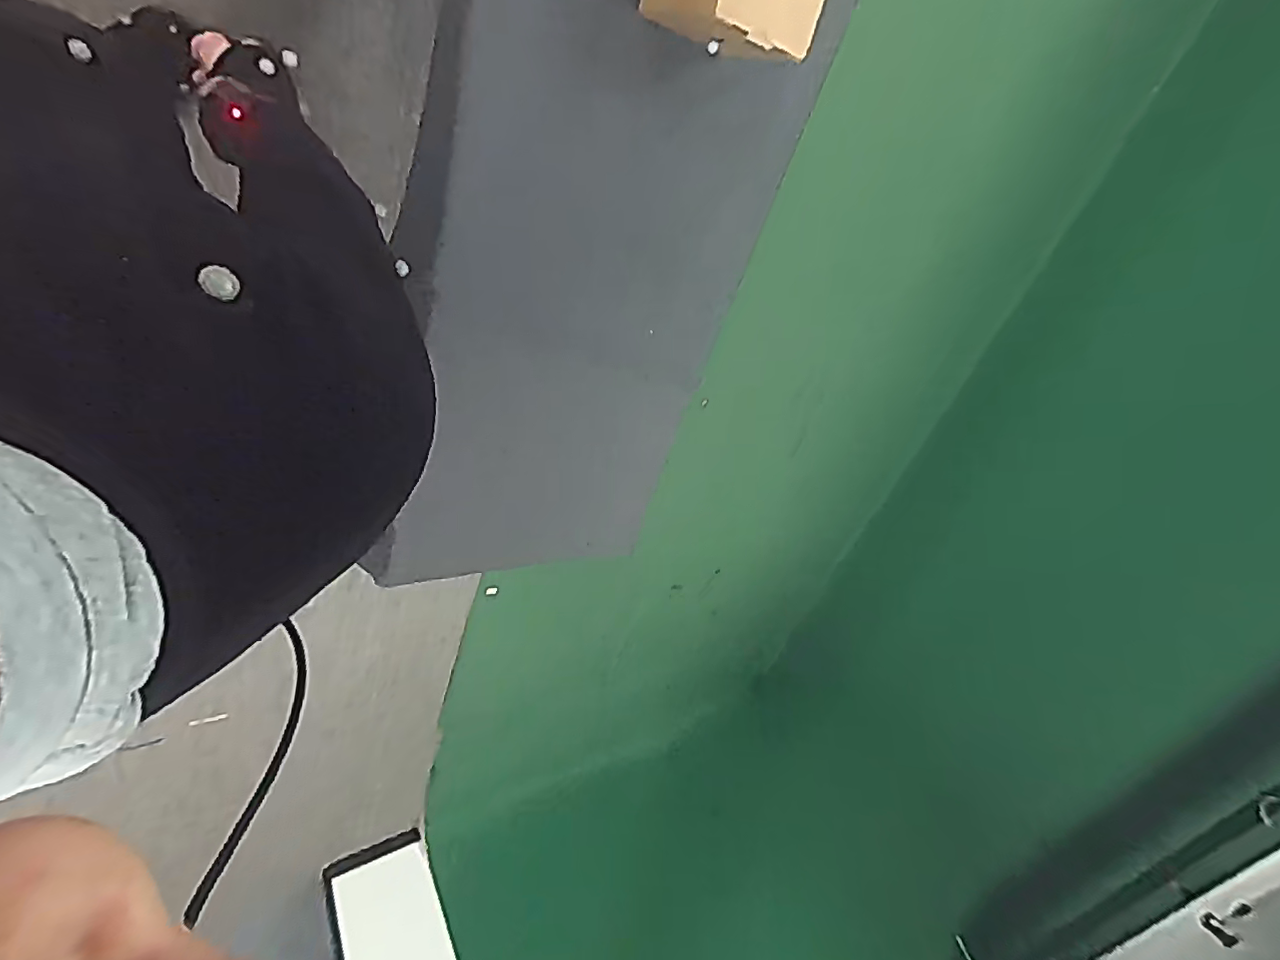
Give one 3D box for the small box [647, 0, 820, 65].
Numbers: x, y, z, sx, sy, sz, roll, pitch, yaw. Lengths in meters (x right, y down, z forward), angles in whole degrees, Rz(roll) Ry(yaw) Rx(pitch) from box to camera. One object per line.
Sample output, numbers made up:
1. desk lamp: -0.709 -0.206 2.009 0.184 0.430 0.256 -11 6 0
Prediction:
1. small box: 0.124 -0.662 0.681 0.168 0.176 0.179 -9 130 -36
